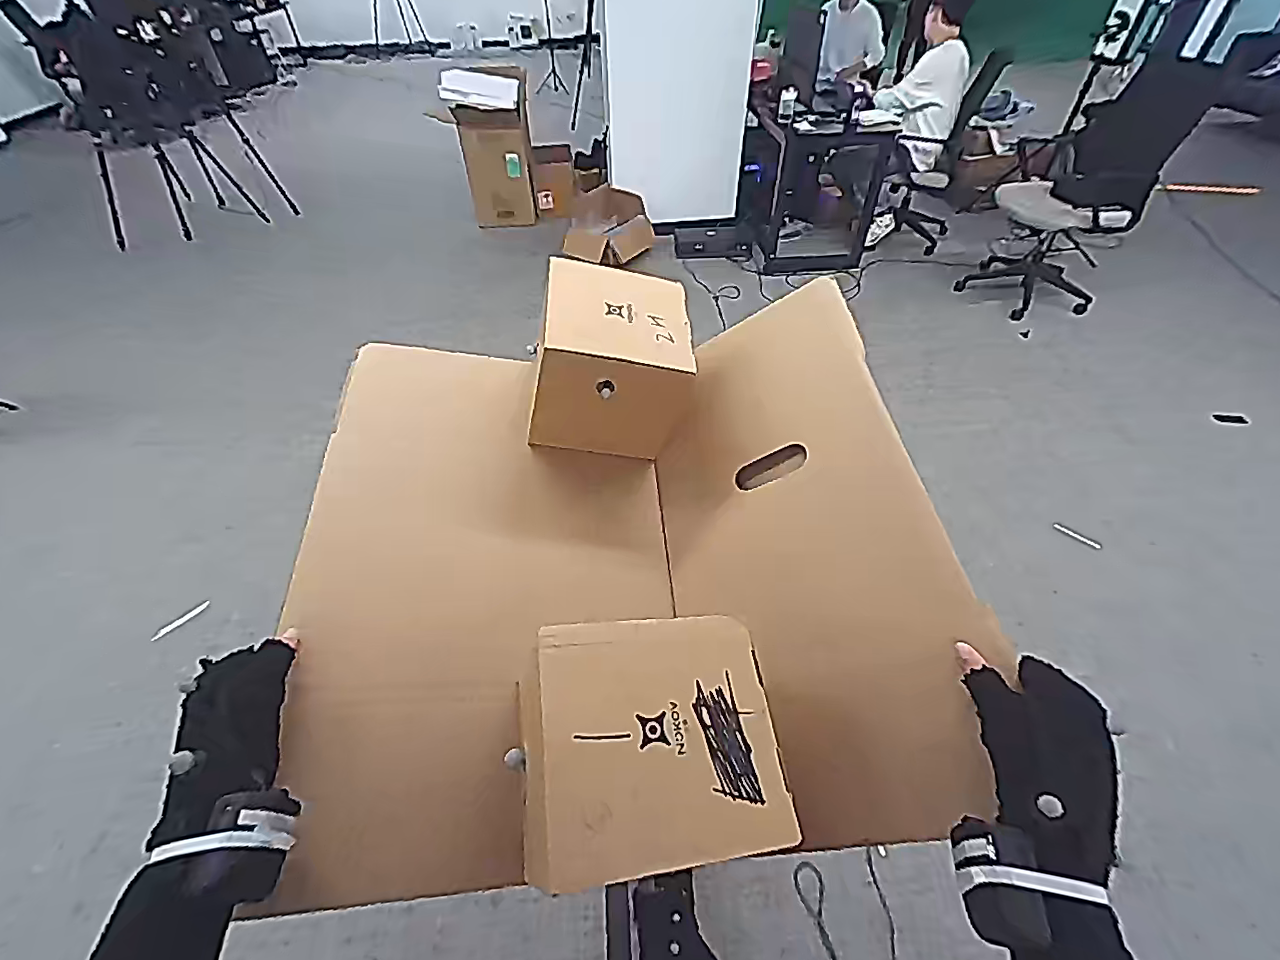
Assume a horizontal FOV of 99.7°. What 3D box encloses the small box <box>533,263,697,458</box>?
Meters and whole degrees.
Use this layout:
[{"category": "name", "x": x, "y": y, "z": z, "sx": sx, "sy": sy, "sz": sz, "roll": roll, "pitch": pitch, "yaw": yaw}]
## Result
[{"category": "small box", "x": -0.040, "y": -0.147, "z": 0.705, "sx": 0.179, "sy": 0.176, "sz": 0.168, "roll": 8, "pitch": 54, "yaw": -14}]
